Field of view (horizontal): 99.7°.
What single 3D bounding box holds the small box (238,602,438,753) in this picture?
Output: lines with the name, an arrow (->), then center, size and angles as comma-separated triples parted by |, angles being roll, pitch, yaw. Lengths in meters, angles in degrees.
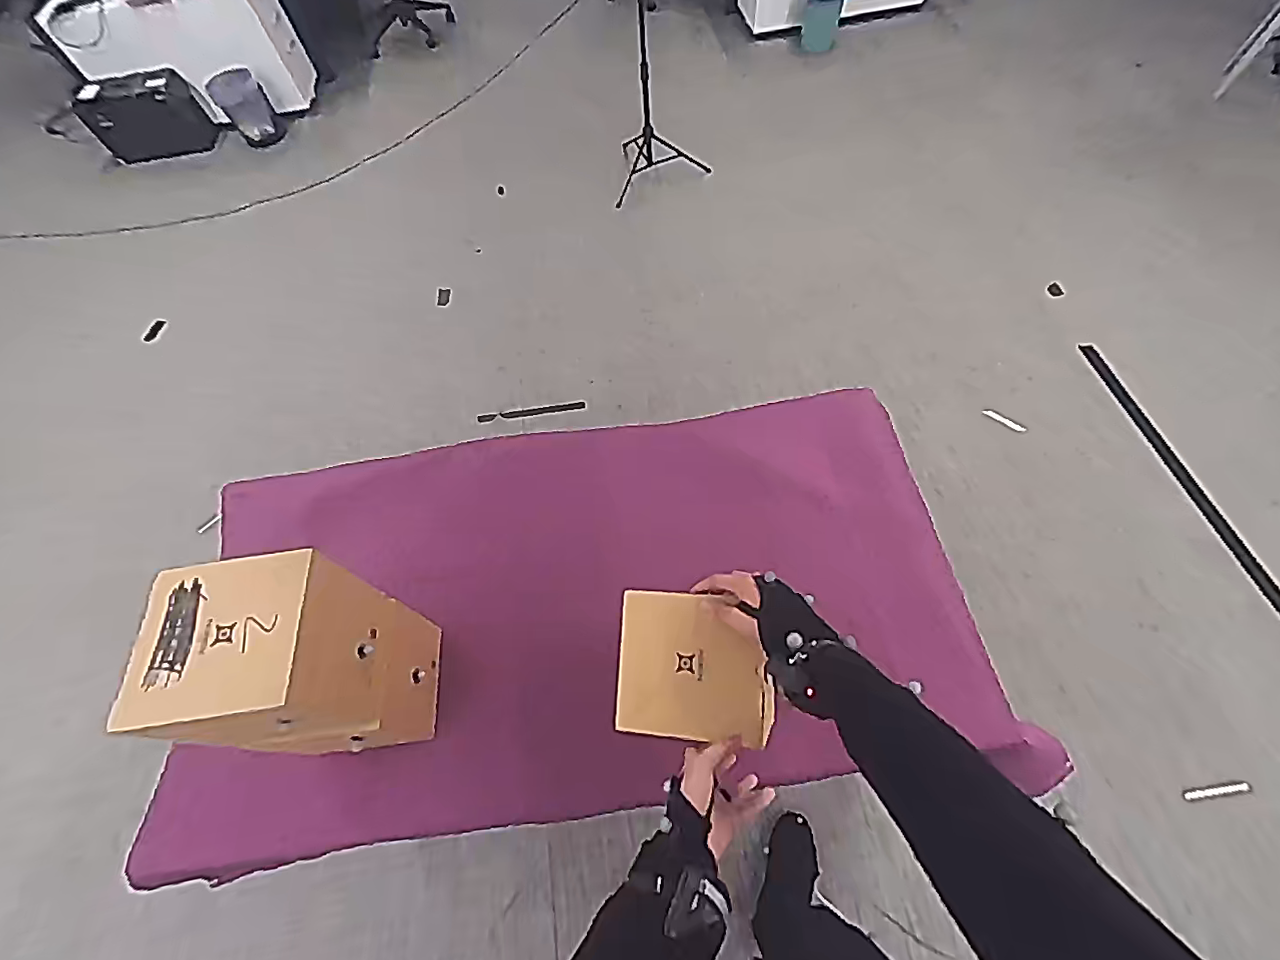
small box -> -0.402, 0.282, 0.758 | 0.179, 0.176, 0.168 | -7, 60, 1

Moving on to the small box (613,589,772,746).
small box -> 0.078, 0.236, 0.709 | 0.179, 0.176, 0.168 | -1, 74, 16
